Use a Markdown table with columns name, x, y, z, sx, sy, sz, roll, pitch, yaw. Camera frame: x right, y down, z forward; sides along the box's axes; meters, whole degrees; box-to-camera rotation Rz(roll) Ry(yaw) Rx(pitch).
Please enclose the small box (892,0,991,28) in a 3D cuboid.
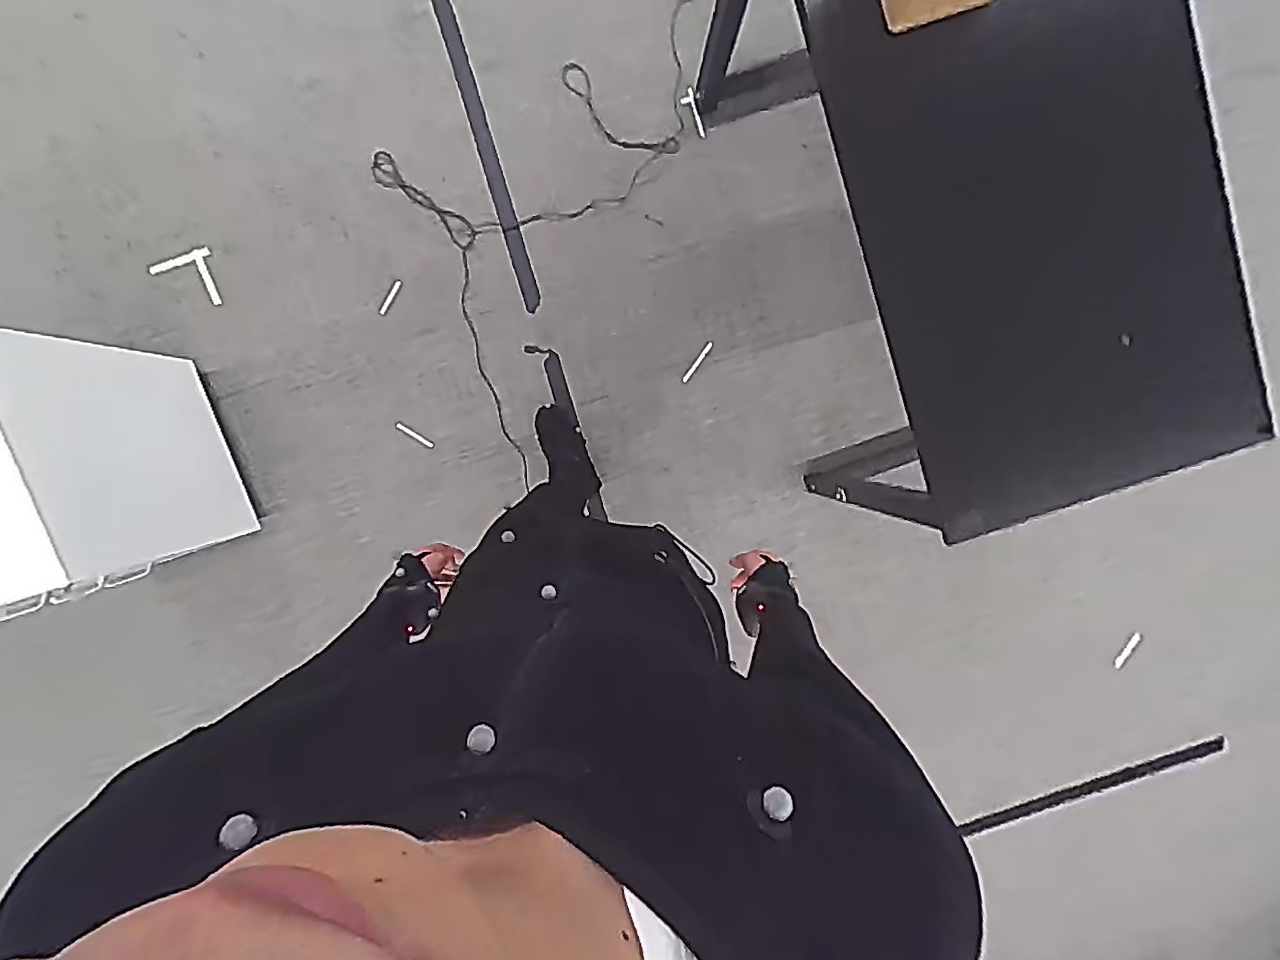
| name | x | y | z | sx | sy | sz | roll | pitch | yaw |
| --- | --- | --- | --- | --- | --- | --- | --- | --- | --- |
| small box | 0.458 | -0.790 | 0.754 | 0.179 | 0.176 | 0.168 | -19 | 96 | 0 |
